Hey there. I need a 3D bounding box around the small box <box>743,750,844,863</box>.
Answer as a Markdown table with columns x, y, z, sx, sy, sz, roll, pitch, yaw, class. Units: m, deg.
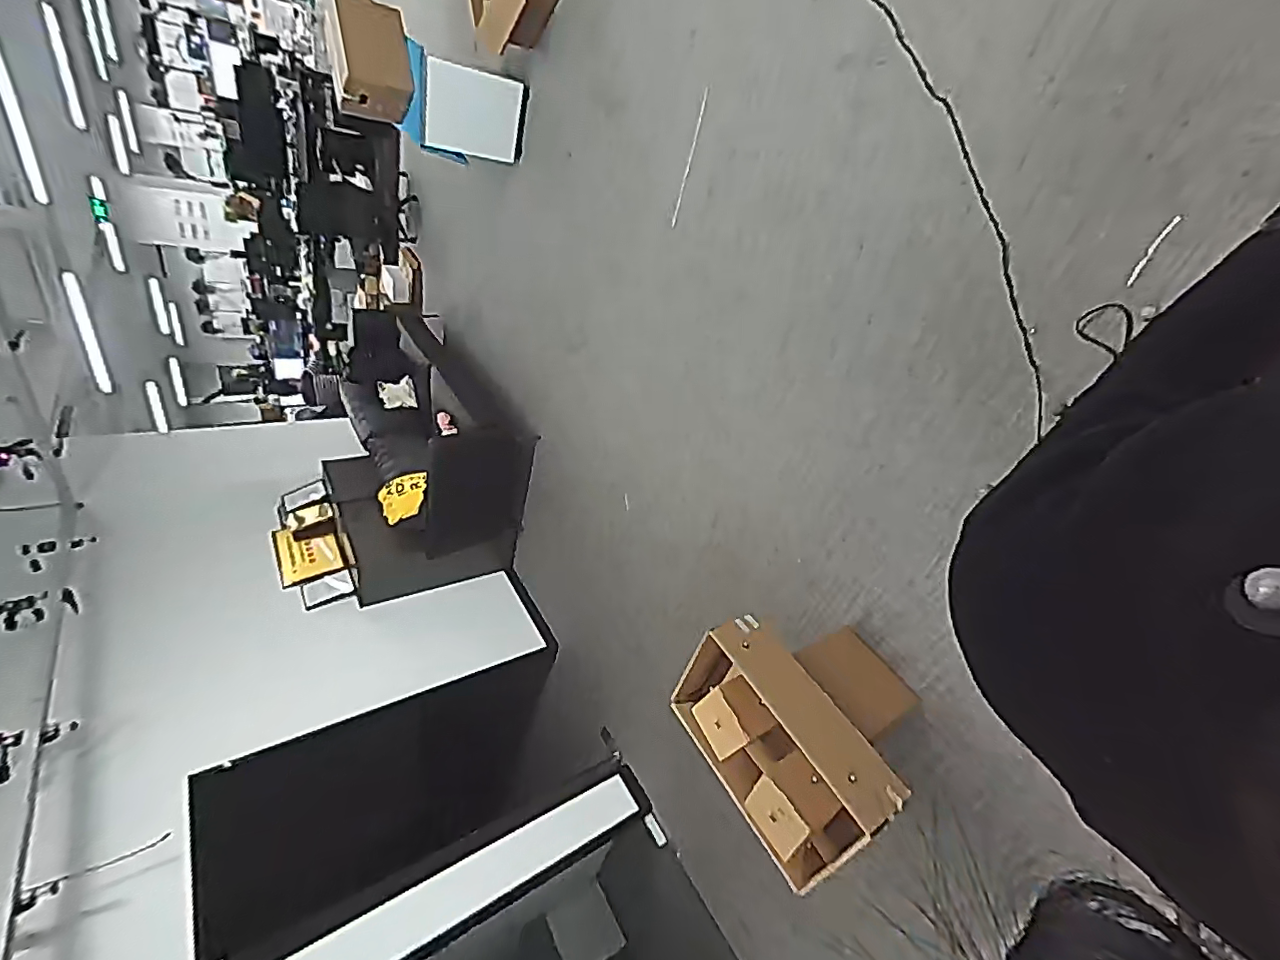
| x | y | z | sx | sy | sz | roll | pitch | yaw | class |
| --- | --- | --- | --- | --- | --- | --- | --- | --- | --- |
| 0.414 | 0.874 | 1.455 | 0.168 | 0.176 | 0.179 | 45 | 132 | 38 | small box |
